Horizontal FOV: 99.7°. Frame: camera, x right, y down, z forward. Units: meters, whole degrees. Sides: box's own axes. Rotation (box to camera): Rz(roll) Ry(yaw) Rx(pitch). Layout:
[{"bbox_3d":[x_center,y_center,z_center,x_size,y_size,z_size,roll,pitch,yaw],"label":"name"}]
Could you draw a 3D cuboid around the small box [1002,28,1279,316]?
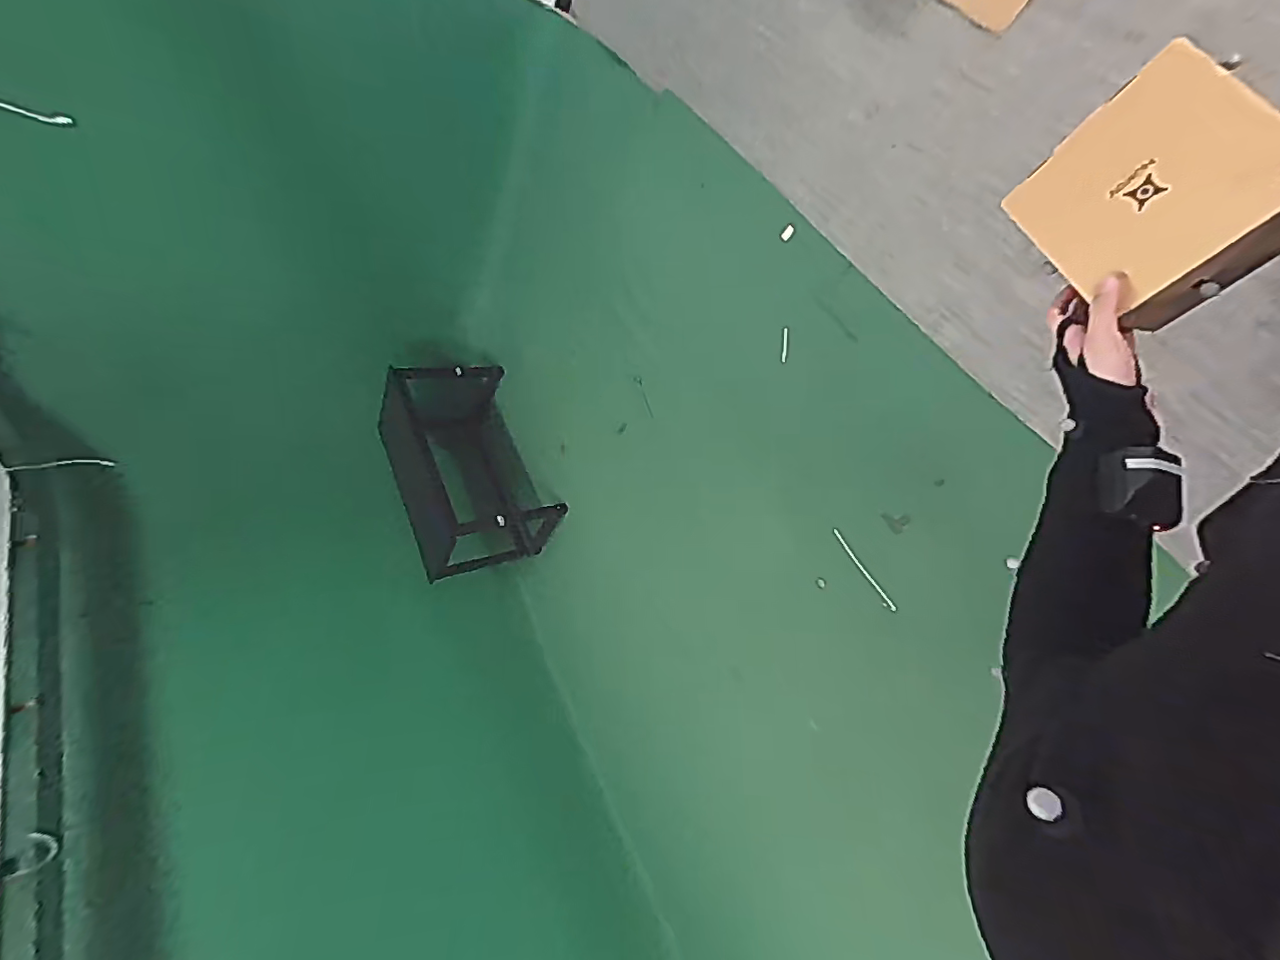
[{"bbox_3d":[0.517,-0.281,0.529,0.168,0.176,0.179,-50,56,48],"label":"small box"}]
